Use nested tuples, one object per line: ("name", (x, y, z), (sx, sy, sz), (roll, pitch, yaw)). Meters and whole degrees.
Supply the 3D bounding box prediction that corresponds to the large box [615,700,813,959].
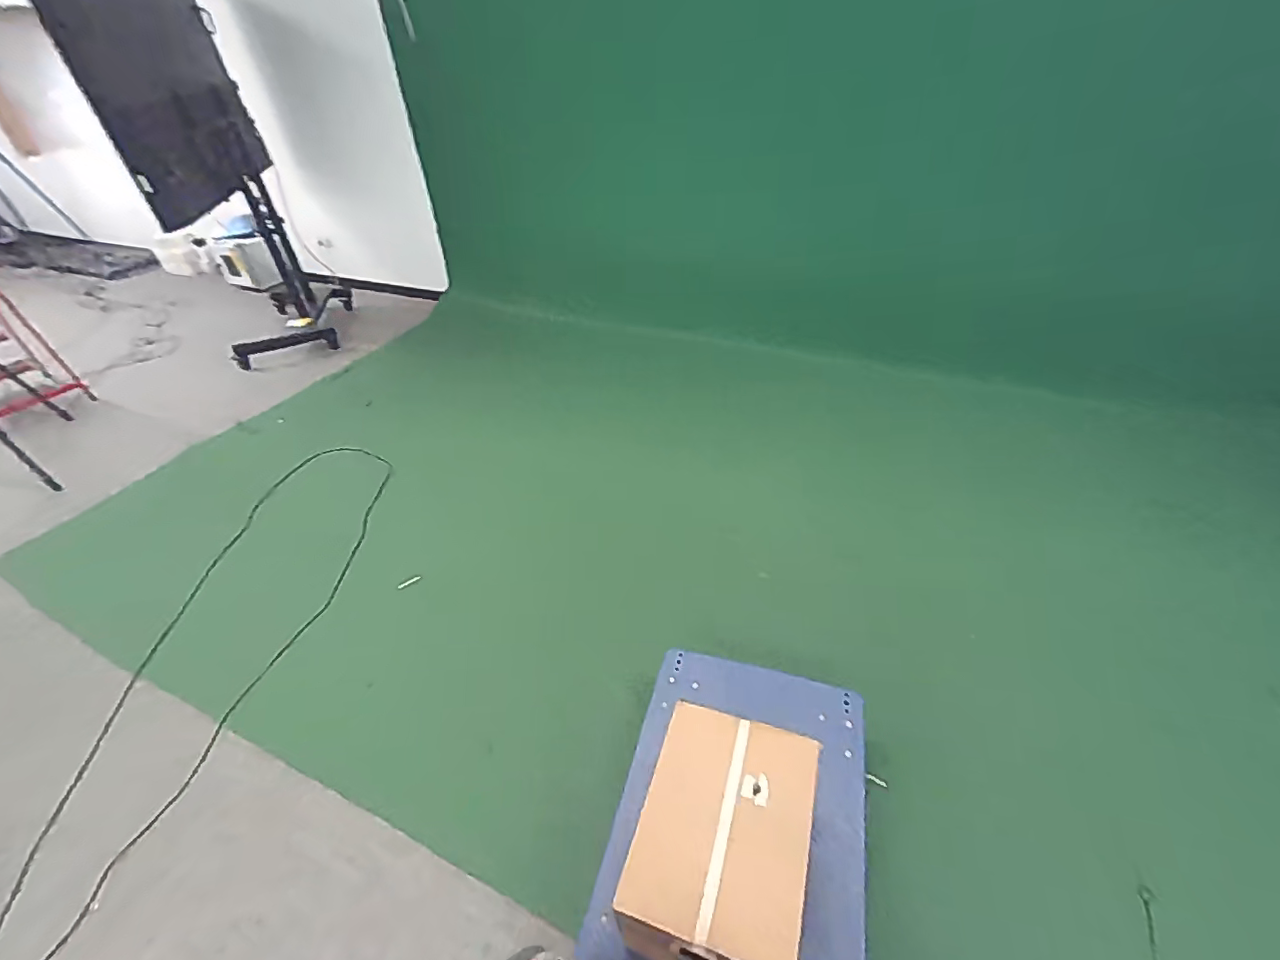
("large box", (0.169, 0.759, 1.133), (0.320, 0.320, 0.408), (11, 41, 17))
